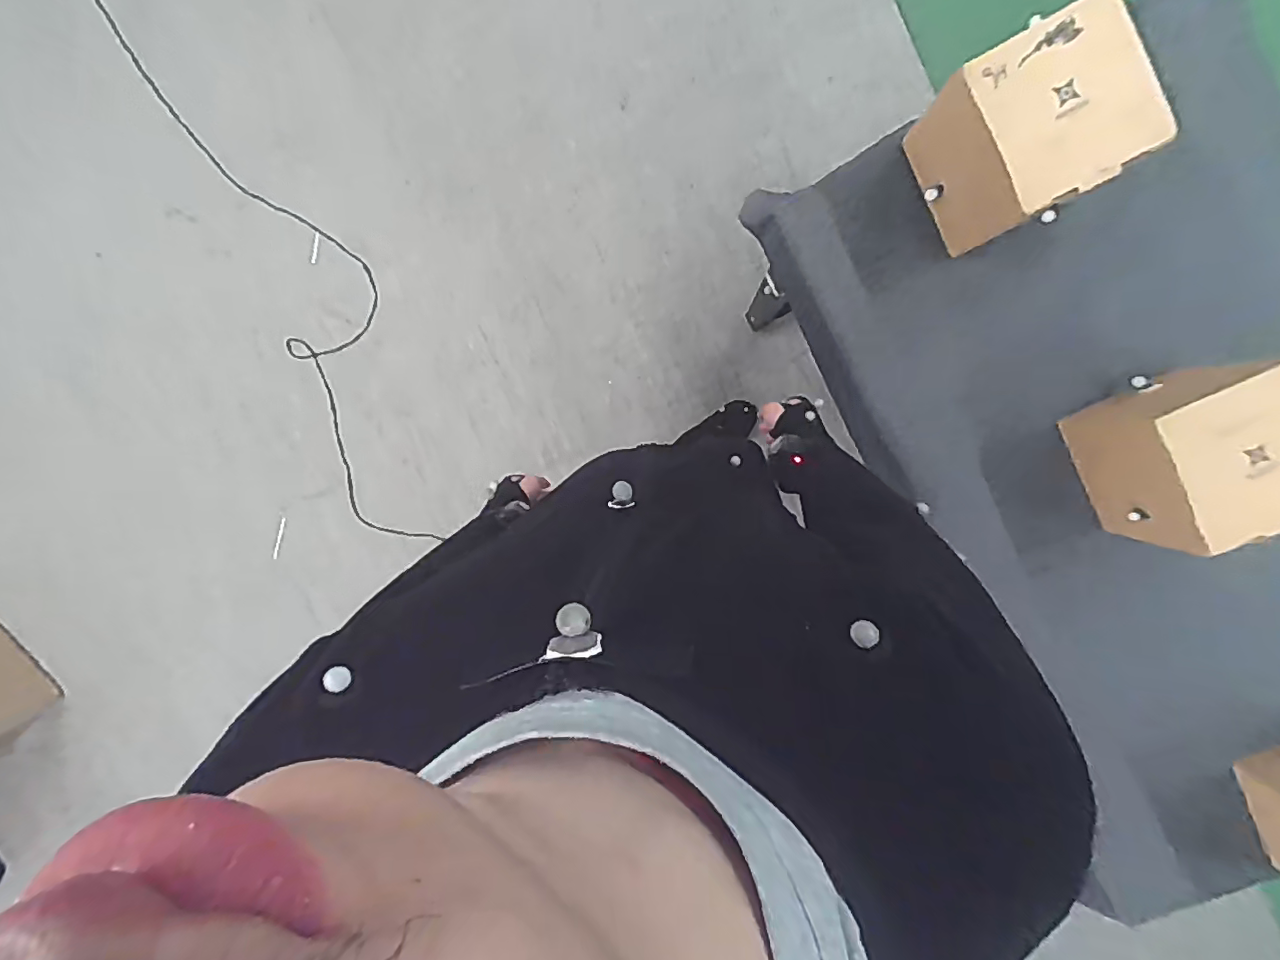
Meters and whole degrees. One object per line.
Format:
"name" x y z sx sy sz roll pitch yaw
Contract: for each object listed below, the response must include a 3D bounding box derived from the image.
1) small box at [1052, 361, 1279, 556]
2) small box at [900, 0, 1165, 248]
"small box" 0.681 -0.030 0.682 0.168 0.176 0.179 -26 93 5
"small box" 0.454 -0.405 0.654 0.168 0.176 0.179 -27 95 6
